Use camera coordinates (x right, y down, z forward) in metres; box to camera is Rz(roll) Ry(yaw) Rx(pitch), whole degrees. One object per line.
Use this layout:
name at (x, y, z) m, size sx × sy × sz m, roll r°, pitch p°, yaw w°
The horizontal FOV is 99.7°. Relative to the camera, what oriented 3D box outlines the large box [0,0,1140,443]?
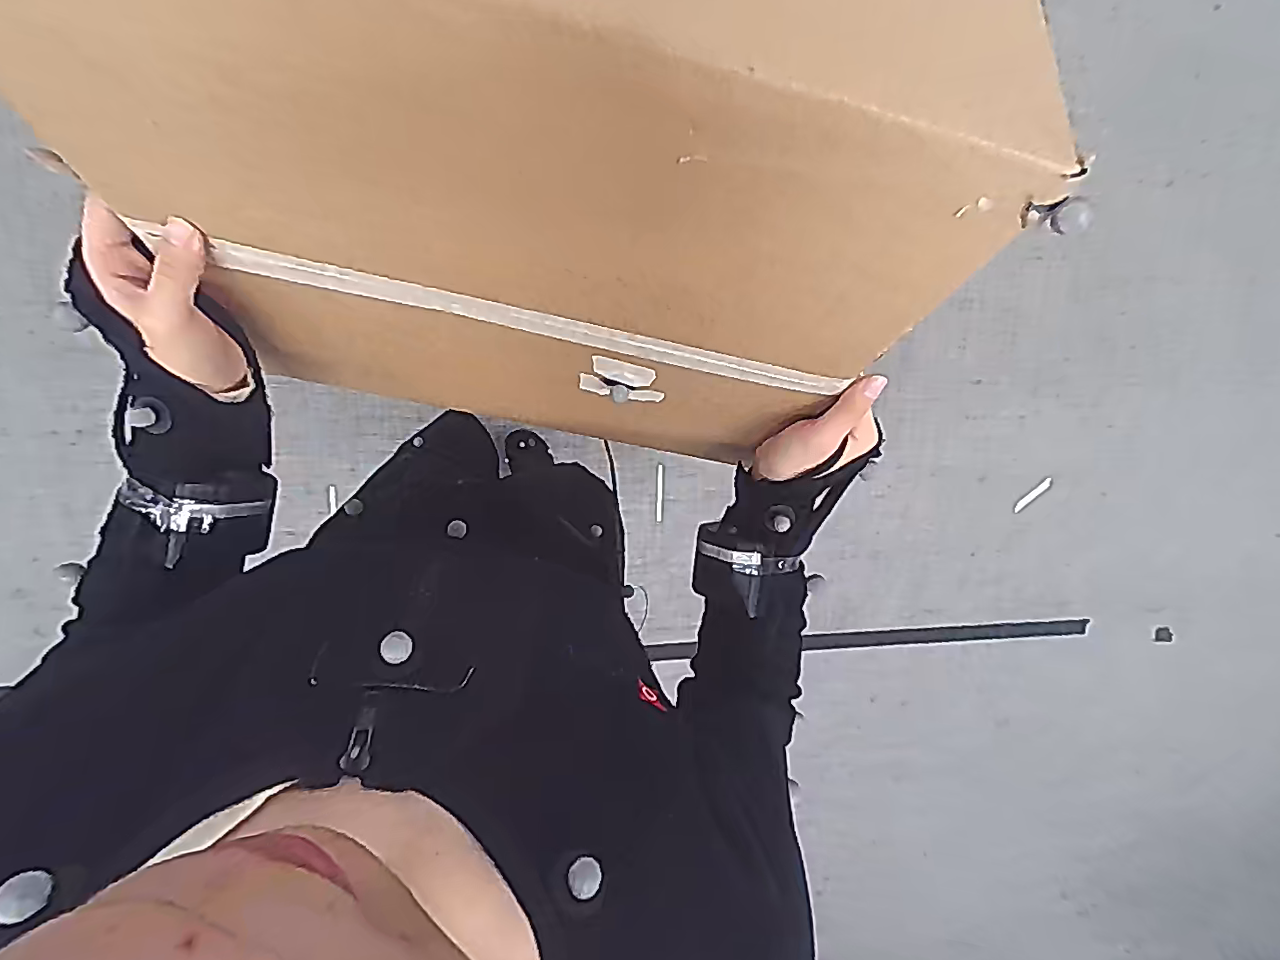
large box at (-0.040, -0.251, 0.342) m, size 0.408 × 0.320 × 0.320 m, roll 9°, pitch 71°, yaw -8°
